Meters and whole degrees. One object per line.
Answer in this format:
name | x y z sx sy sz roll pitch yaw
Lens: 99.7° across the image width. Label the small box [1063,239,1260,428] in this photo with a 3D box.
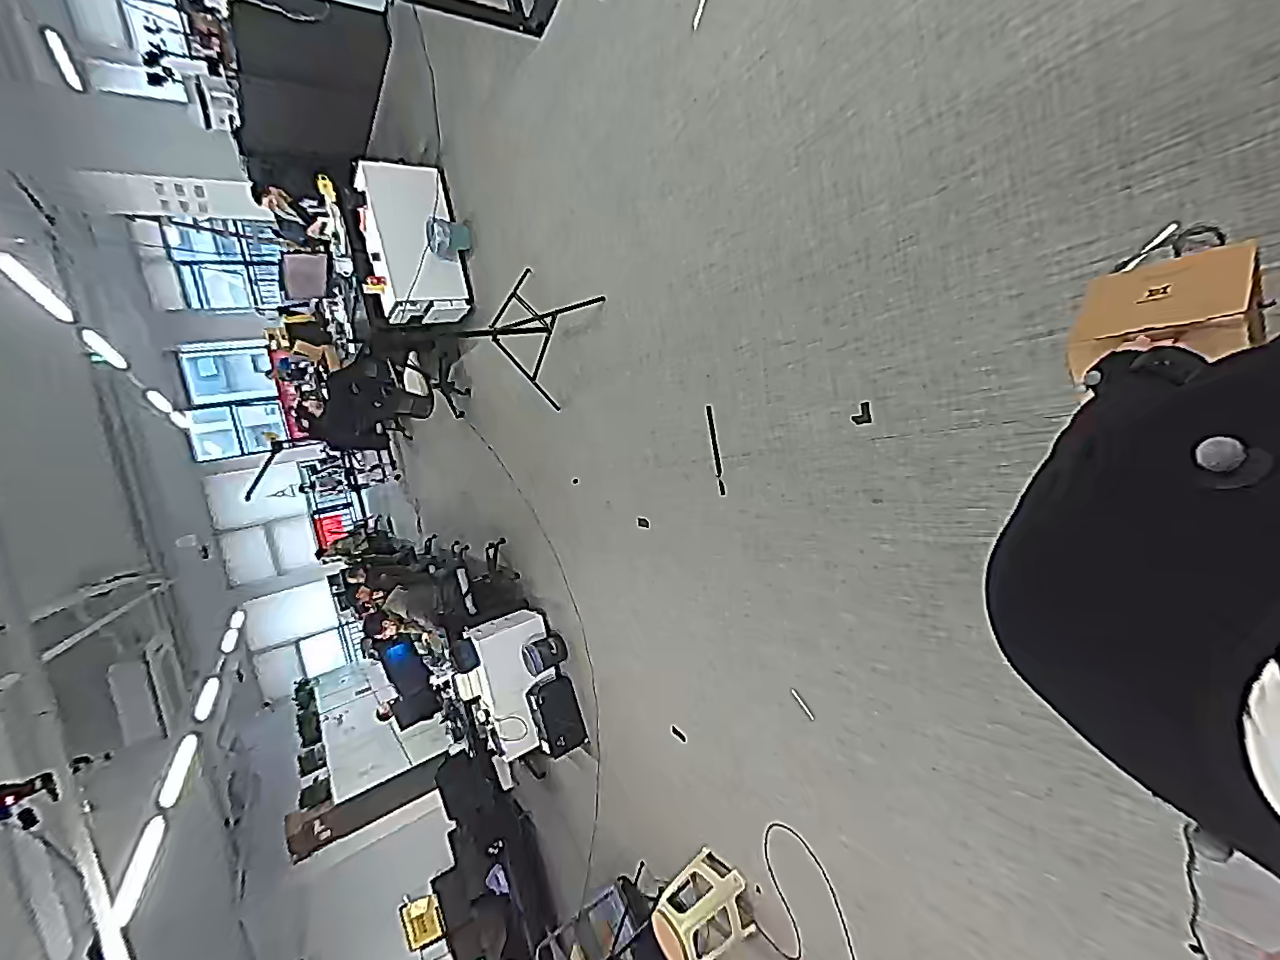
small box | 0.712 -0.184 0.736 0.168 0.179 0.176 -1 133 52
